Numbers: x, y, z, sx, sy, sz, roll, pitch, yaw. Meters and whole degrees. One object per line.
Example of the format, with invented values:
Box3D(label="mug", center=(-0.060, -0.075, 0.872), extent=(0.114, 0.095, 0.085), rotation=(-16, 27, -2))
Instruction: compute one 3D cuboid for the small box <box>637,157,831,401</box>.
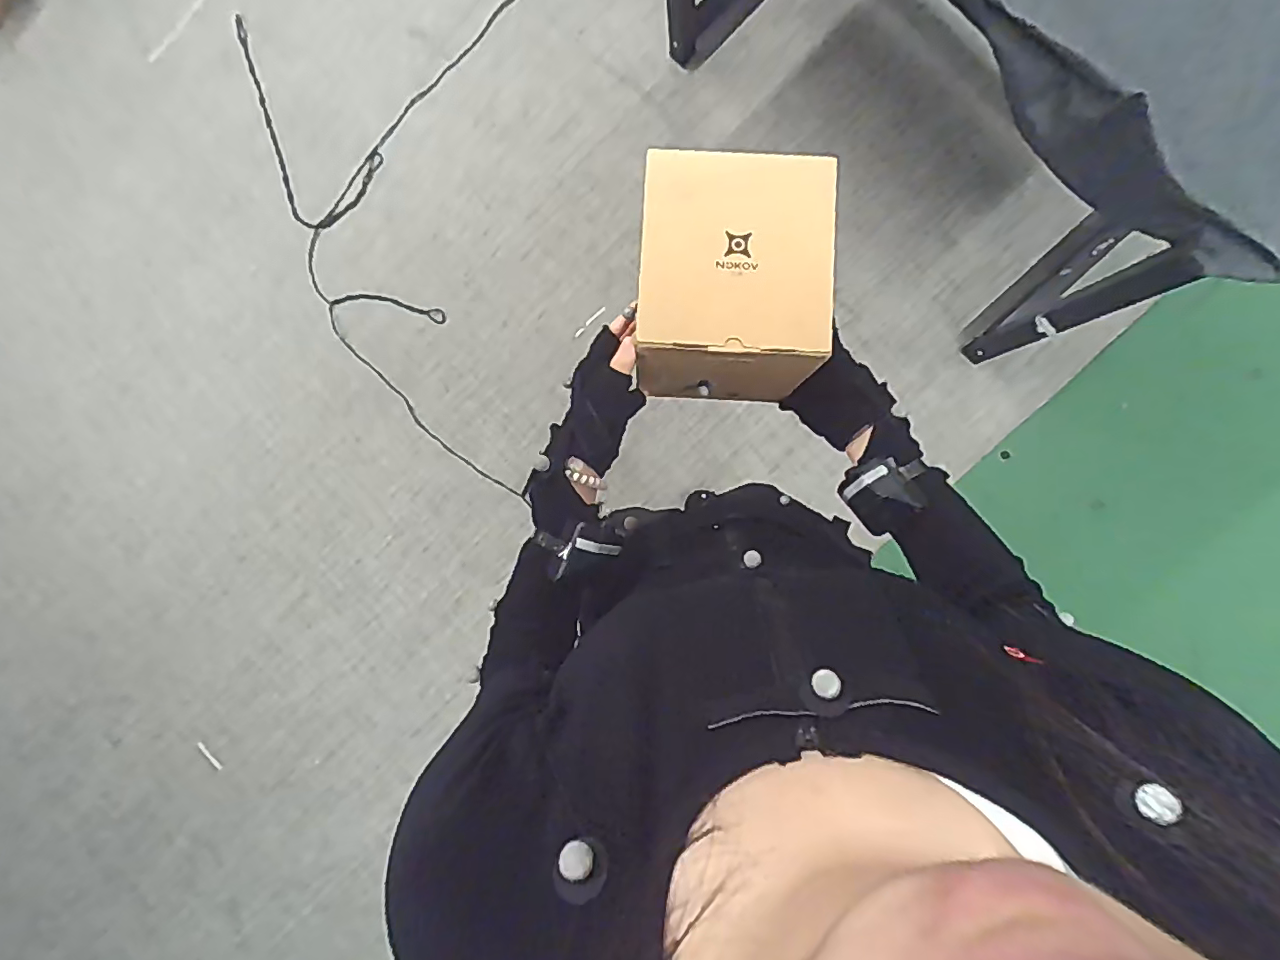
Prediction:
Box3D(label="small box", center=(0.084, -0.190, 0.551), extent=(0.168, 0.176, 0.179), rotation=(3, 85, 1))
